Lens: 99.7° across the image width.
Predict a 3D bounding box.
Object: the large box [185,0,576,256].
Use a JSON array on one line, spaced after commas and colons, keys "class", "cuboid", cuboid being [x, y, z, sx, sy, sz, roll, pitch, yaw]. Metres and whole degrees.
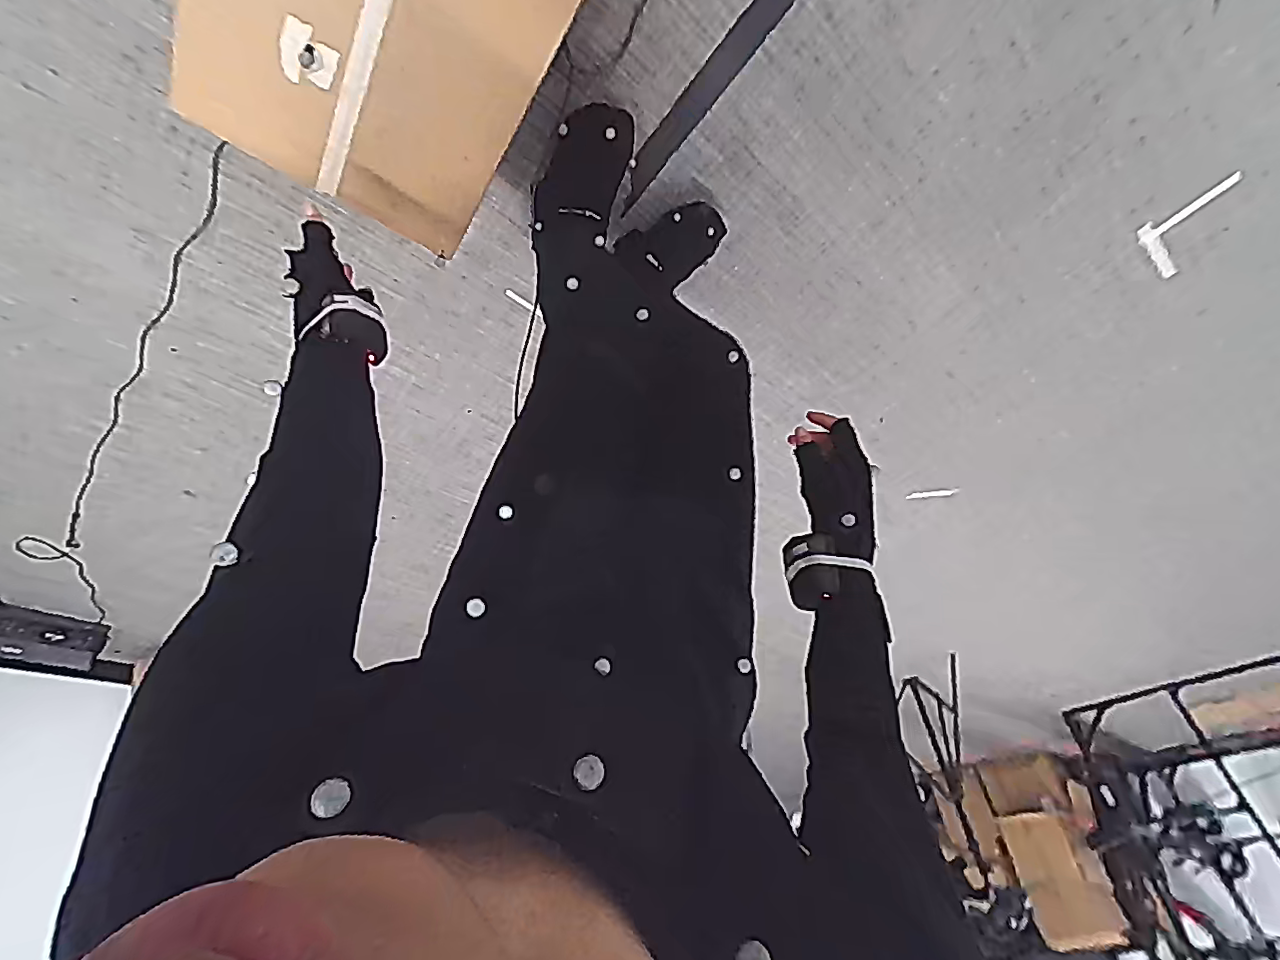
[{"class": "large box", "cuboid": [-0.278, -0.579, 0.643, 0.320, 0.320, 0.408, 23, 135, -29]}]
